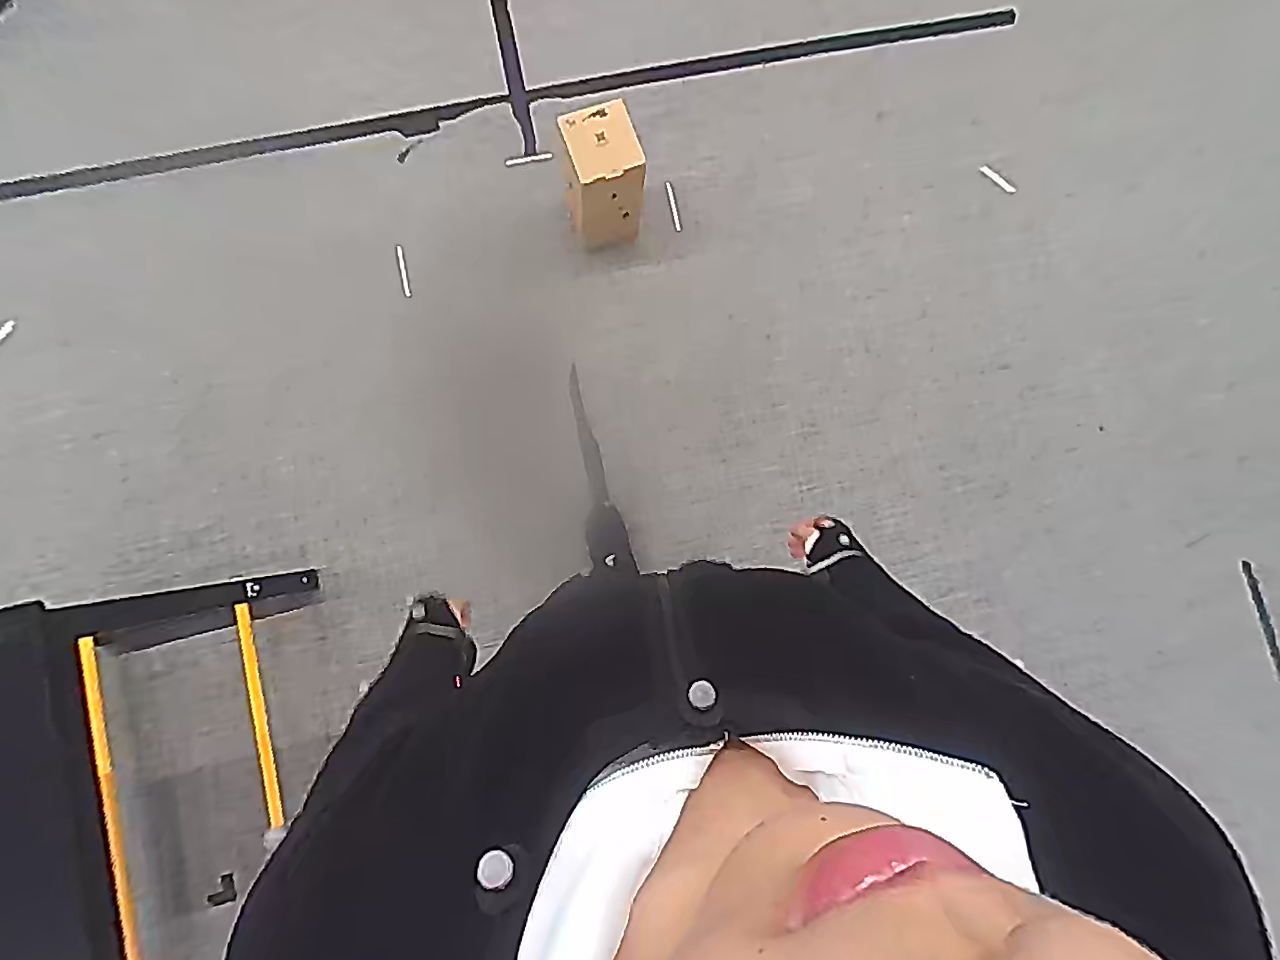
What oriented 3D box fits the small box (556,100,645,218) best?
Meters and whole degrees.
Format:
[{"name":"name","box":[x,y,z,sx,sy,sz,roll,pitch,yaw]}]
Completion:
[{"name":"small box","box":[-0.096,-0.778,1.336,0.168,0.176,0.179,-20,87,-5]}]

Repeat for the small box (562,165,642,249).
[{"name":"small box","box":[-0.106,-0.773,1.499,0.179,0.176,0.168,-19,86,-5]}]
